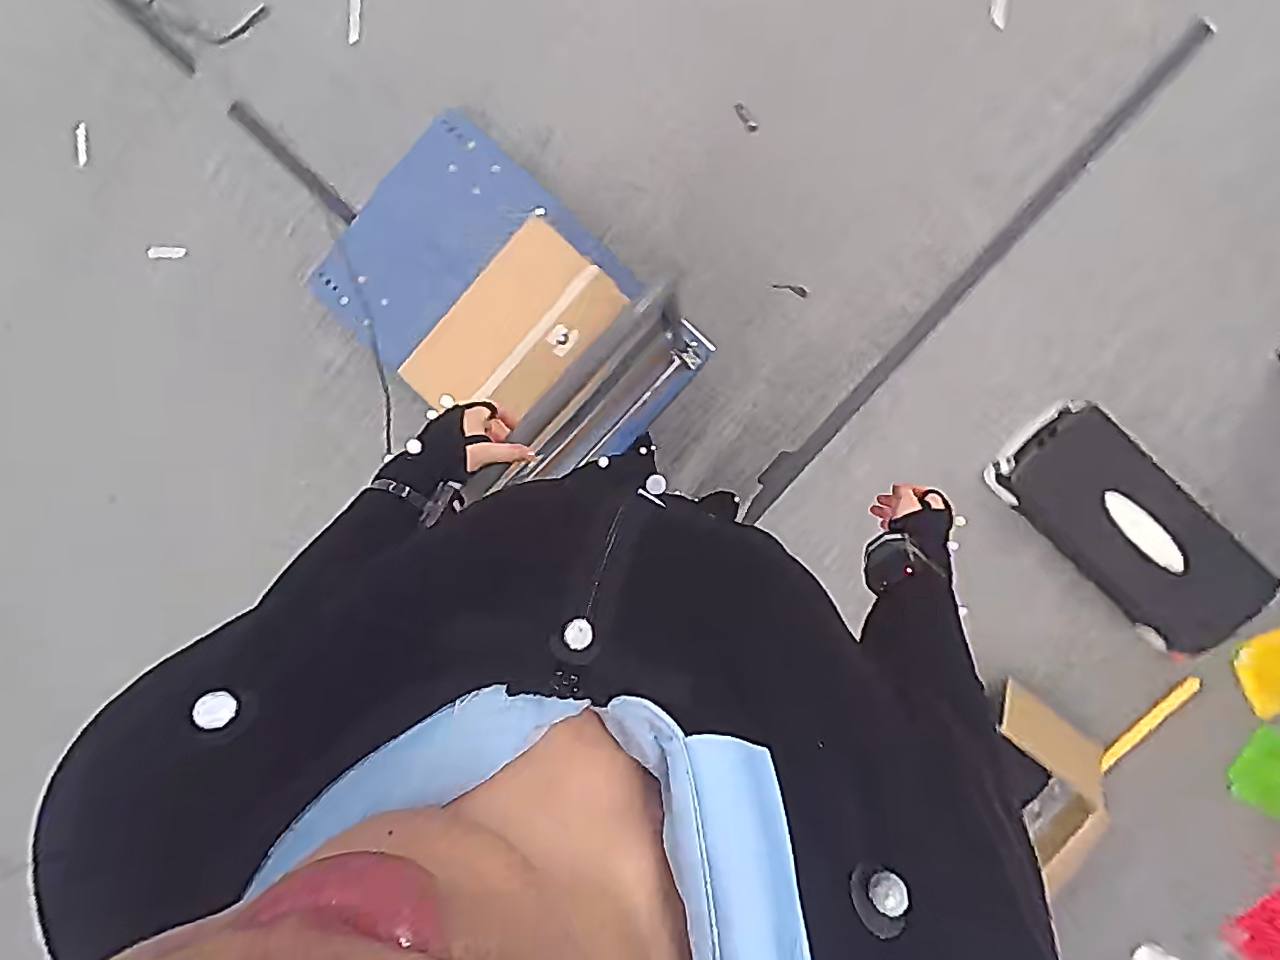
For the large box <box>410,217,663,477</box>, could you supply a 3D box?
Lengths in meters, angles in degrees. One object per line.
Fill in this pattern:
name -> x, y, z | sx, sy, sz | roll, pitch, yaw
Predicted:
large box -> -0.198, -0.255, 1.176 | 0.320, 0.320, 0.408 | 44, 96, 0
